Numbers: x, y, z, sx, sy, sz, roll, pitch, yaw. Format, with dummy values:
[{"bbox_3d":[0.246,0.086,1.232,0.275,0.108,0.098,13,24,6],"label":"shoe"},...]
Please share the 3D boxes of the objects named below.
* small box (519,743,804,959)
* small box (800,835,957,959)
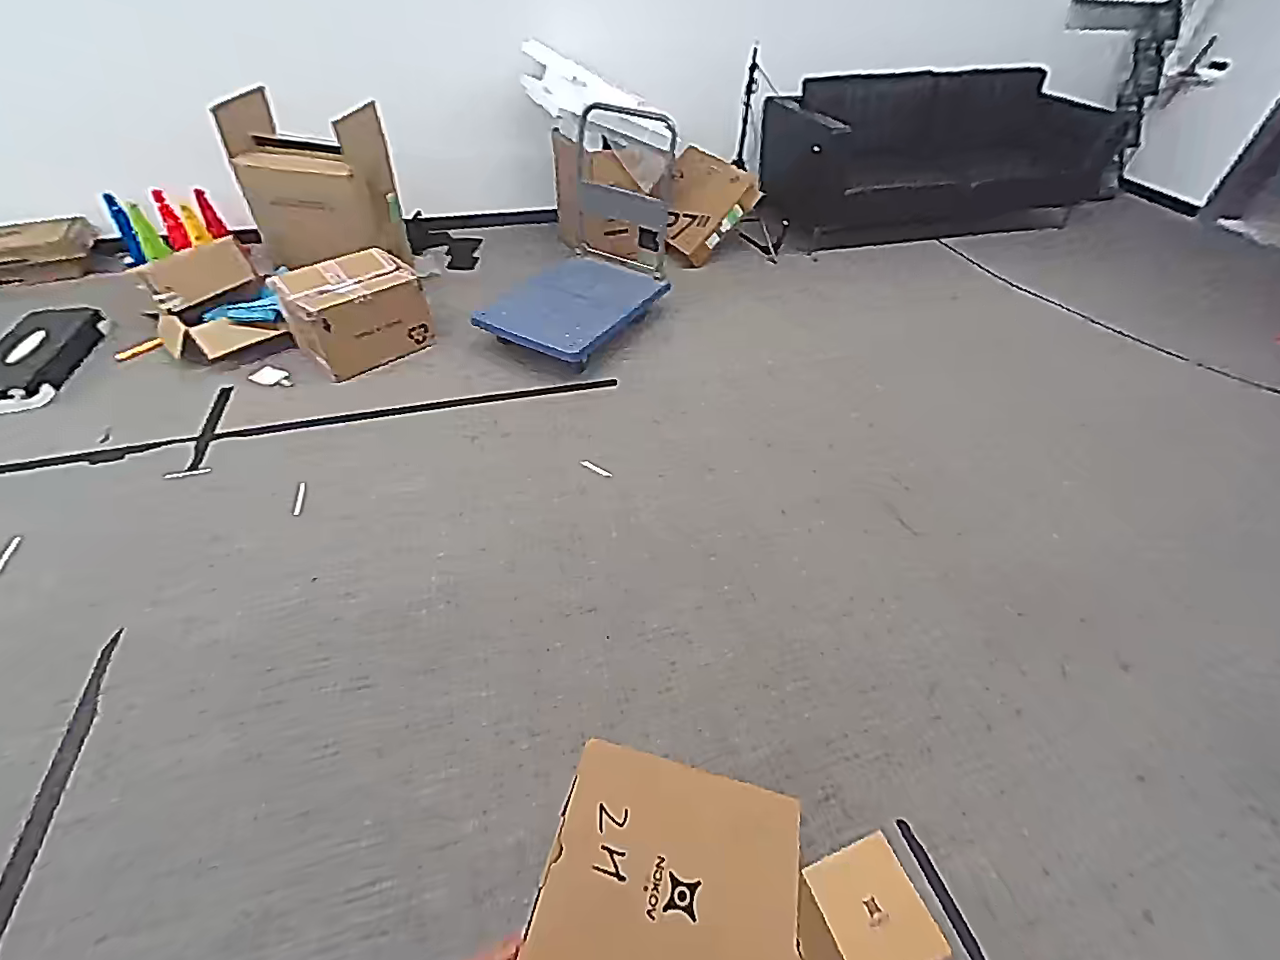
[{"bbox_3d":[0.016,0.341,0.421,0.179,0.176,0.168,13,42,8],"label":"small box"},{"bbox_3d":[0.372,0.740,0.905,0.168,0.176,0.179,-14,47,-17],"label":"small box"}]
